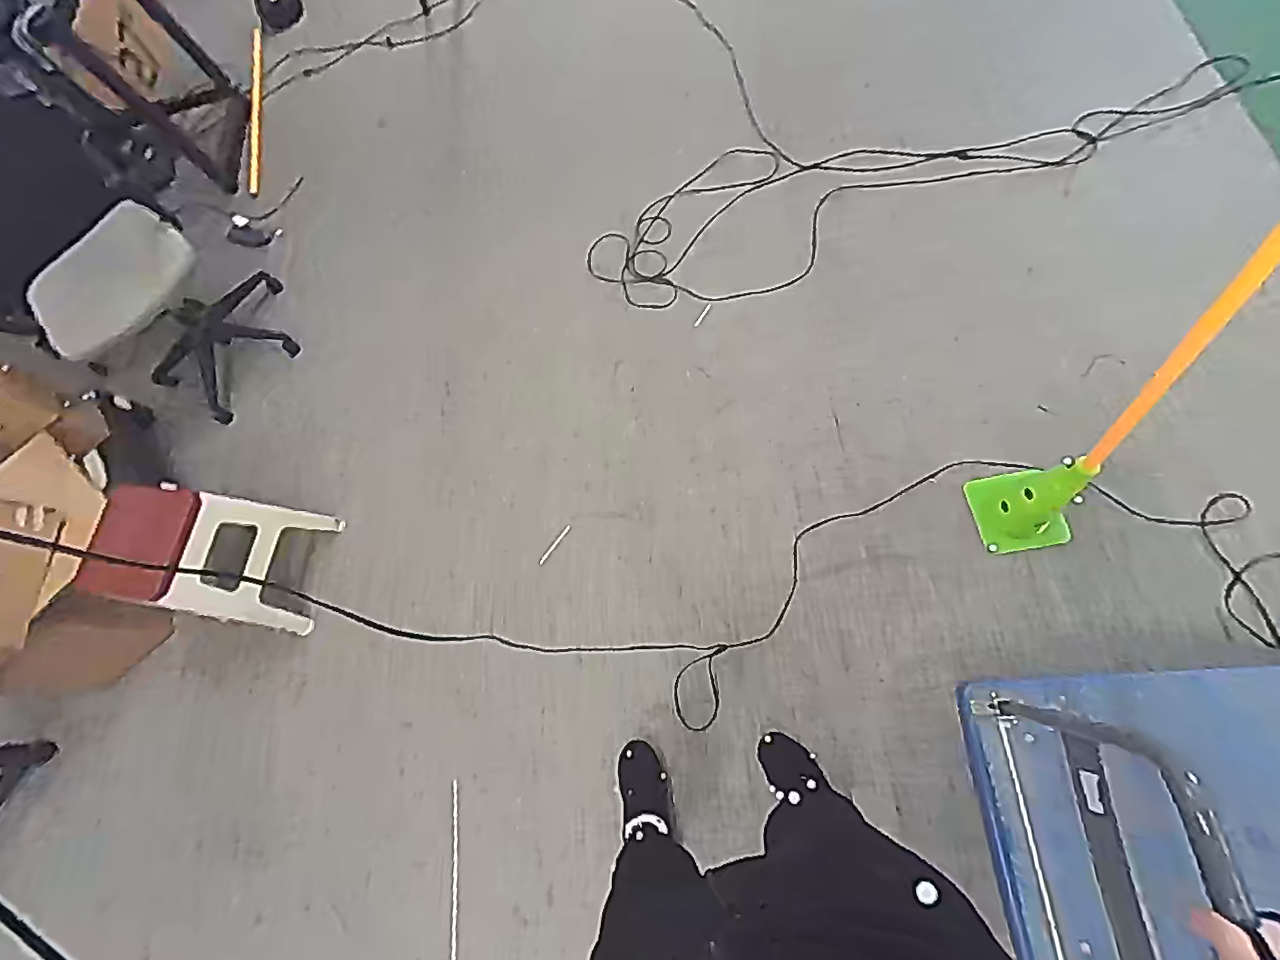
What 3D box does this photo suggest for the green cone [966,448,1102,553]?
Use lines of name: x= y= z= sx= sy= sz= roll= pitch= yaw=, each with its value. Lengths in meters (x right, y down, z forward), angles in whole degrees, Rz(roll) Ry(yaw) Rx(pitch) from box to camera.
green cone: x=0.925 y=0.019 z=1.217 sx=0.200 sy=0.368 sz=0.202 roll=-12 pitch=68 yaw=9
